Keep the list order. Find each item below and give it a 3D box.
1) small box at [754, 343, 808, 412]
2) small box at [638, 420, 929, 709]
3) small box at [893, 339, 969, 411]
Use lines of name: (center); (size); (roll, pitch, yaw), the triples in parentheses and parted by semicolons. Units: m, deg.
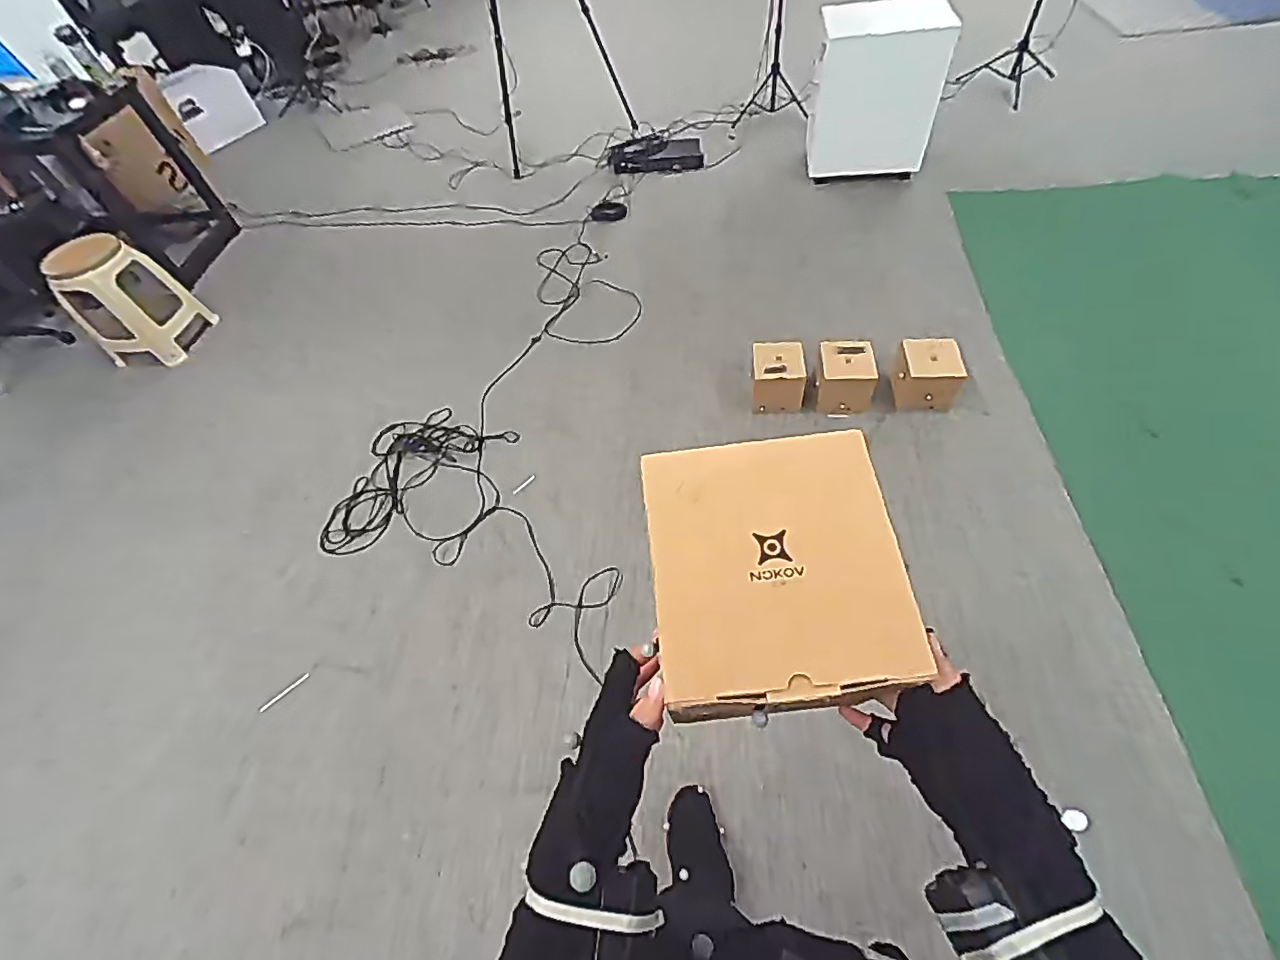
small box: (0.480, -0.346, 1.860); (0.168, 0.176, 0.179); (-1, 54, 9)
small box: (0.091, 0.076, 0.433); (0.168, 0.176, 0.179); (-7, 63, 2)
small box: (0.956, -0.342, 1.790); (0.168, 0.176, 0.179); (1, 55, 8)
